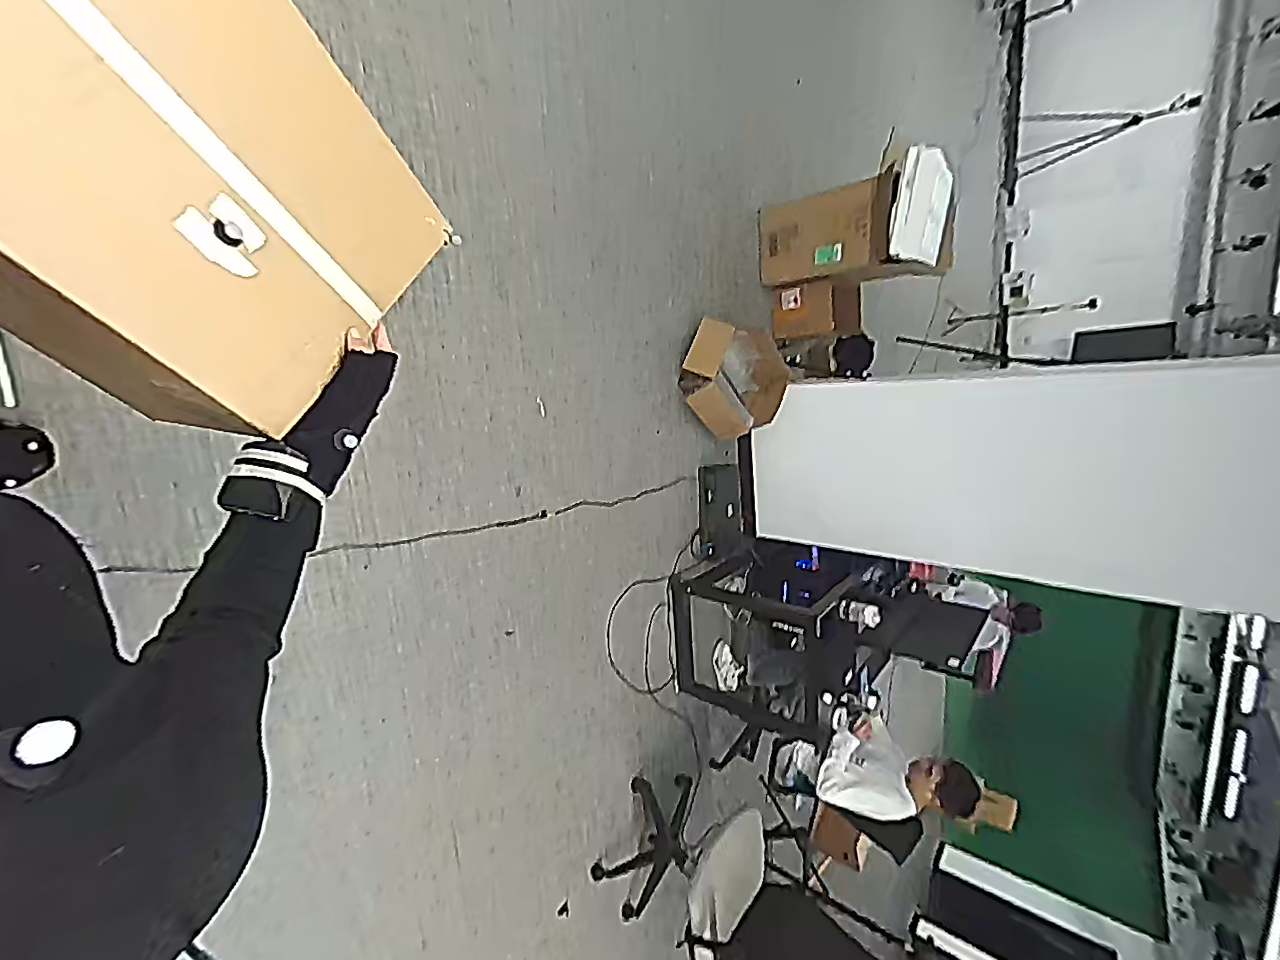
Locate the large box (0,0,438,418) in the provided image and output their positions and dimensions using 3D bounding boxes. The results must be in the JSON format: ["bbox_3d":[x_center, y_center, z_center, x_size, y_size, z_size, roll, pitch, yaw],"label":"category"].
[{"bbox_3d":[-0.492,-0.303,0.498,0.408,0.320,0.320,55,52,-49],"label":"large box"}]
